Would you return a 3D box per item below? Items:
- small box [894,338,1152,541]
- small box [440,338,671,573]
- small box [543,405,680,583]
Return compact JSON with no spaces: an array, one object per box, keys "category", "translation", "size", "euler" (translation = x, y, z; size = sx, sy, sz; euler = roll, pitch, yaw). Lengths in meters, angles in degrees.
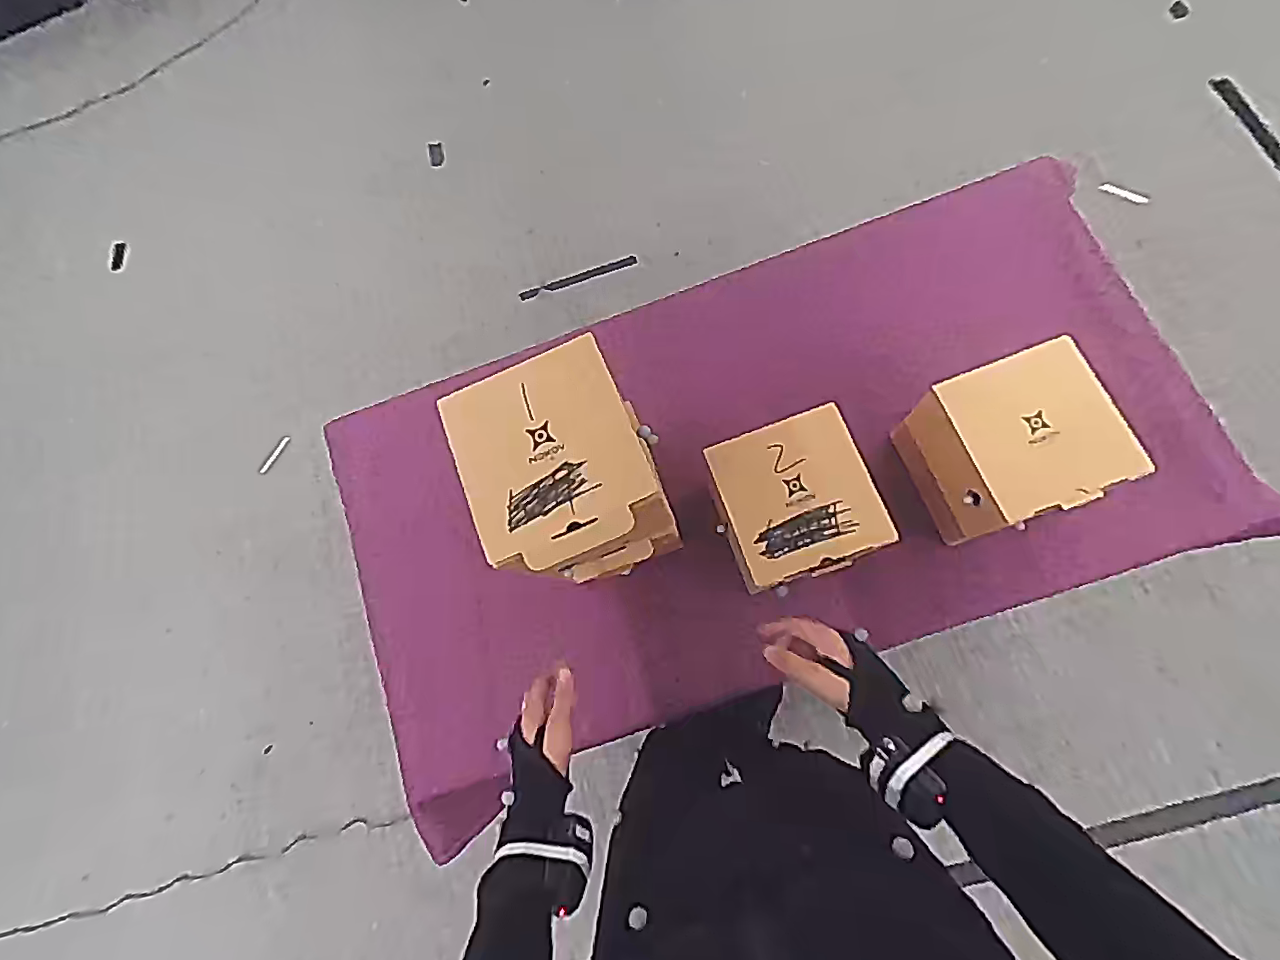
[{"category":"small box","translation":[0.450,-0.039,0.675],"size":[0.168,0.176,0.179],"euler":[-21,74,3]},{"category":"small box","translation":[-0.076,-0.010,0.571],"size":[0.168,0.176,0.179],"euler":[-24,73,1]},{"category":"small box","translation":[-0.052,0.029,0.729],"size":[0.168,0.176,0.179],"euler":[-20,74,3]}]
